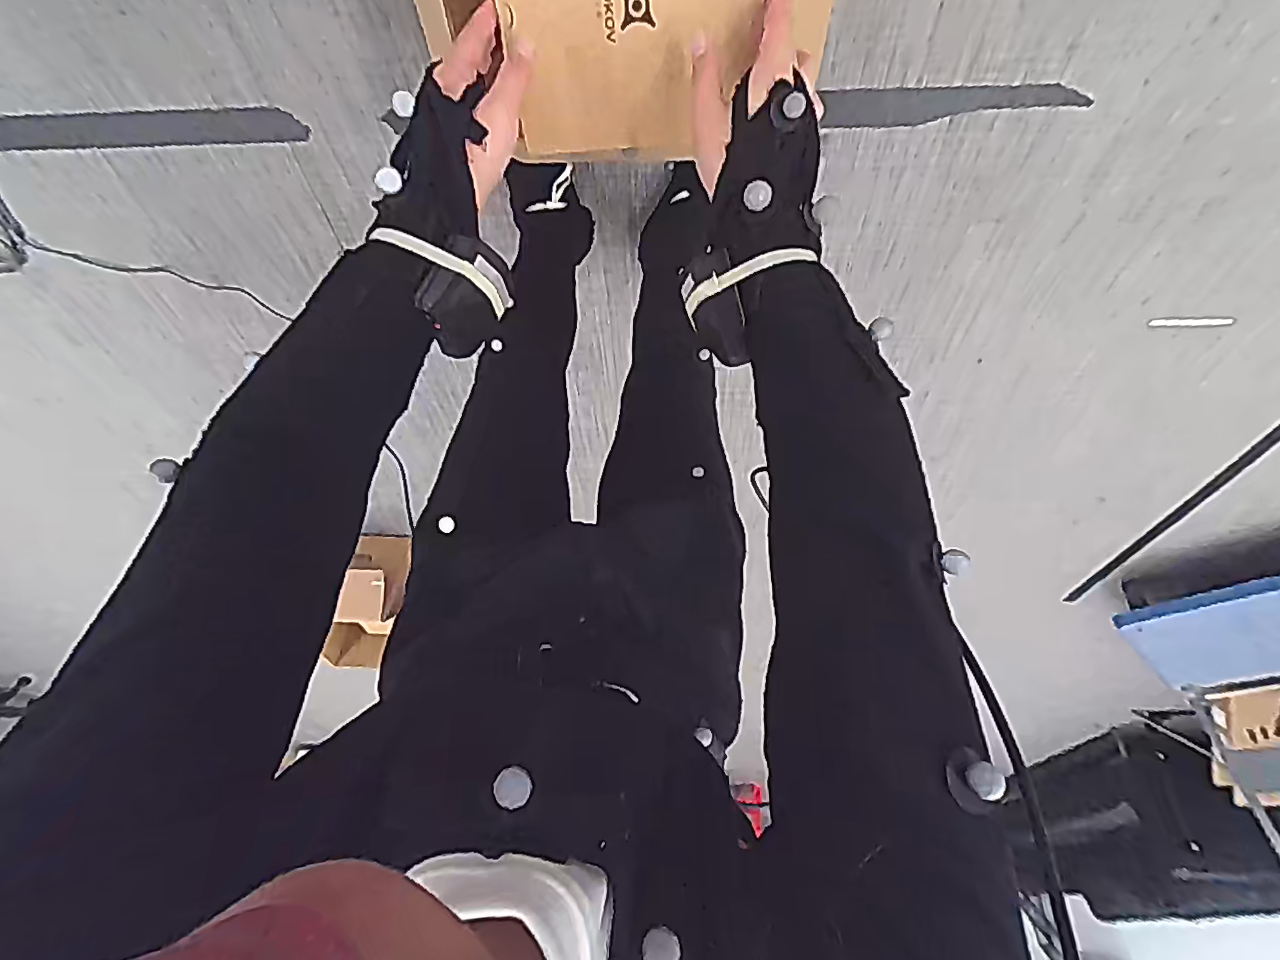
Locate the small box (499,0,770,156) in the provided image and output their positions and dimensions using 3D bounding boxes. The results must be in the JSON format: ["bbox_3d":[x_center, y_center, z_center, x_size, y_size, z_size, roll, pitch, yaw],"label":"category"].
[{"bbox_3d":[-0.003,-0.364,0.400,0.179,0.176,0.168,-2,138,4],"label":"small box"}]
